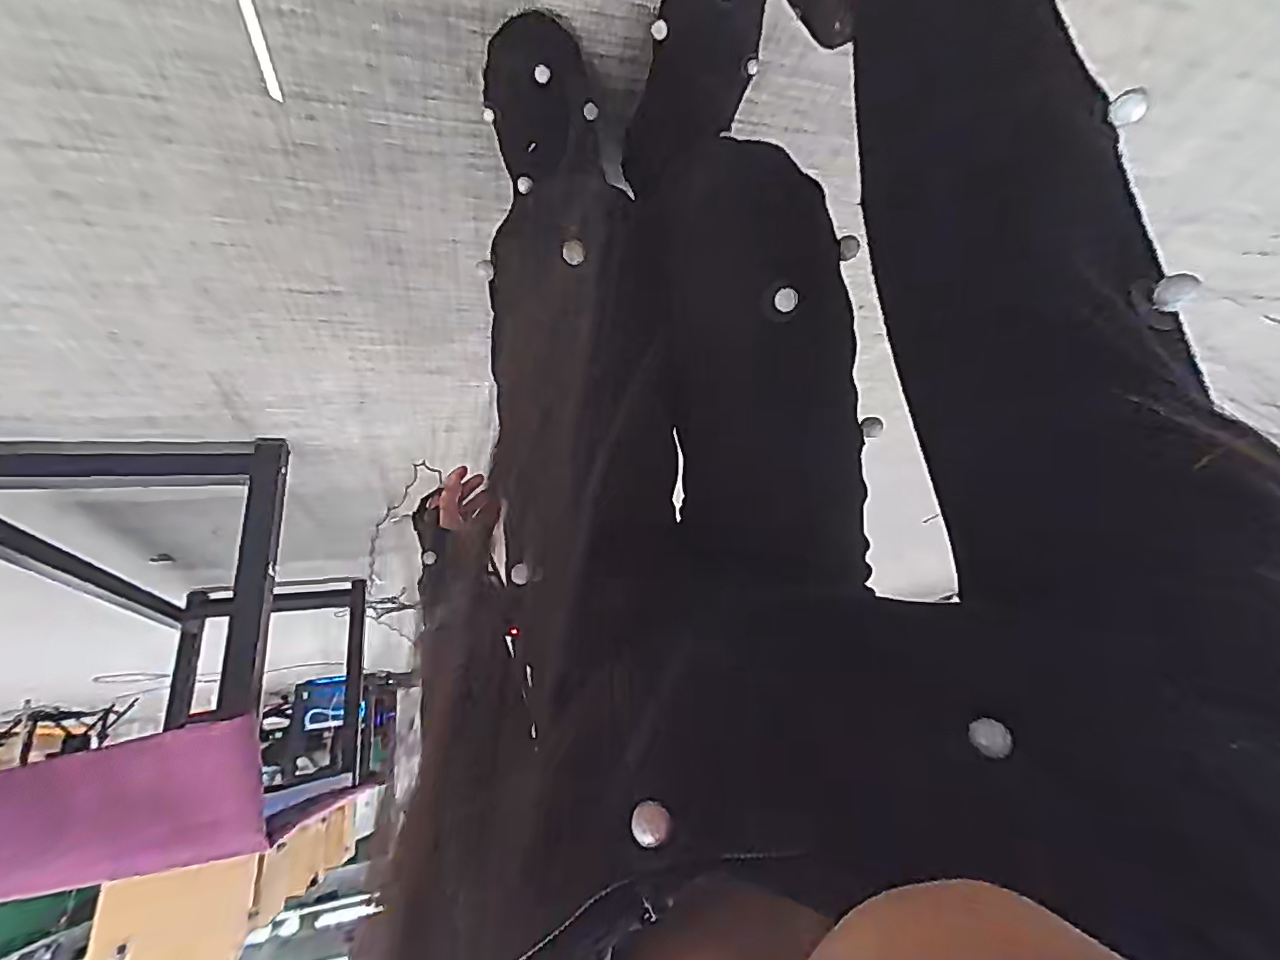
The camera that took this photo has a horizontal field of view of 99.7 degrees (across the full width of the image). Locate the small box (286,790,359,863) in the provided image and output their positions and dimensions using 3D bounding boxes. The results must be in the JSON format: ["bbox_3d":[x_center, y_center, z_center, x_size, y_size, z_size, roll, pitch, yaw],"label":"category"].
[{"bbox_3d":[-0.955,1.044,1.625,0.168,0.176,0.179,-3,156,-16],"label":"small box"}]

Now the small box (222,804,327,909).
[{"bbox_3d":[-0.889,0.913,1.334,0.179,0.176,0.168,-2,156,-15],"label":"small box"}]
